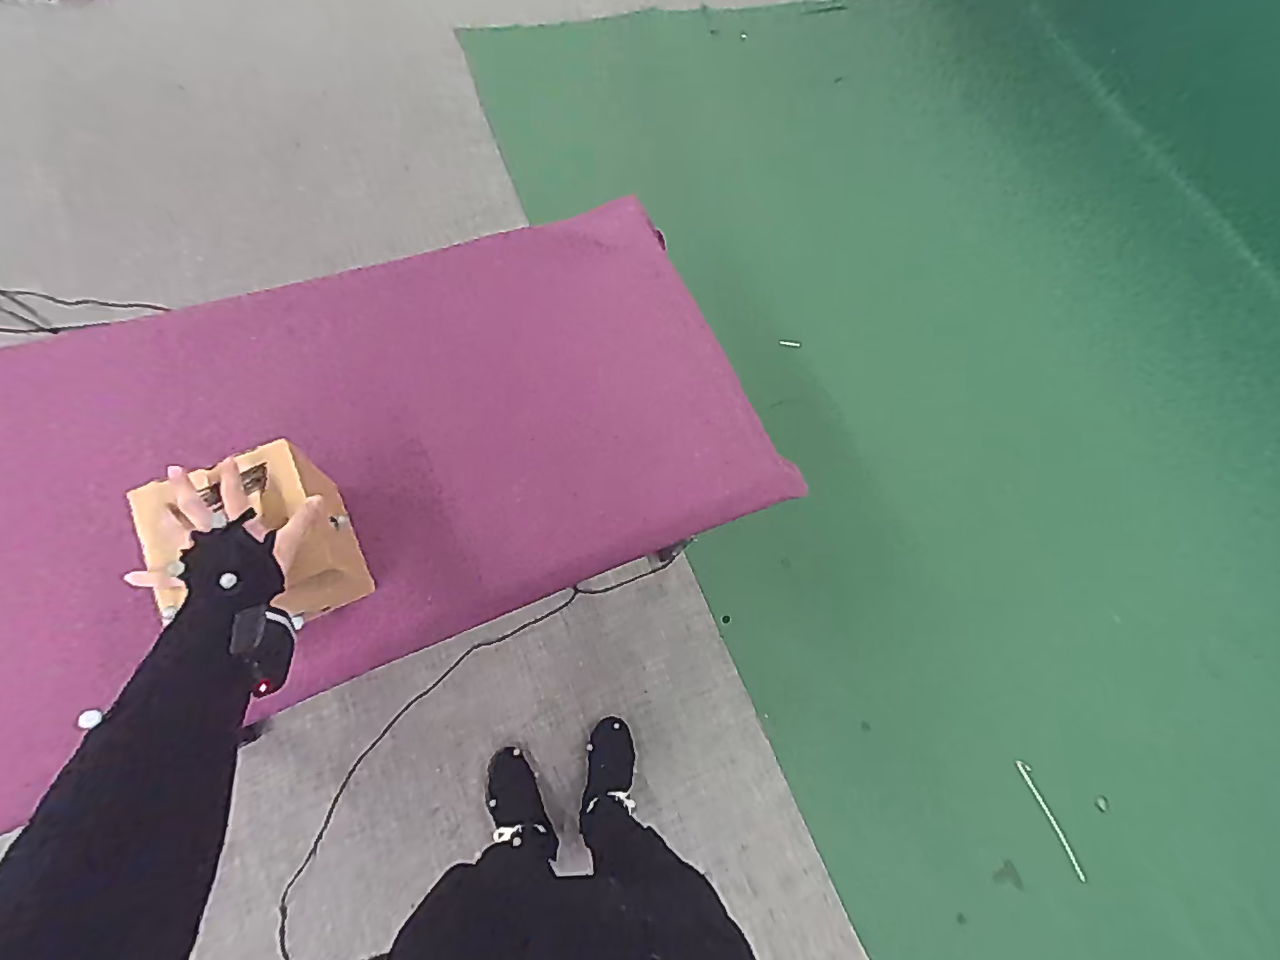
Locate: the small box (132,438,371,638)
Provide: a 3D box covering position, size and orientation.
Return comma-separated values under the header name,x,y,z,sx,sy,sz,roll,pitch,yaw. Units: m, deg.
name,x,y,z,sx,sy,sz,roll,pitch,yaw
small box,-0.465,0.080,0.674,0.168,0.176,0.179,-24,76,-17
